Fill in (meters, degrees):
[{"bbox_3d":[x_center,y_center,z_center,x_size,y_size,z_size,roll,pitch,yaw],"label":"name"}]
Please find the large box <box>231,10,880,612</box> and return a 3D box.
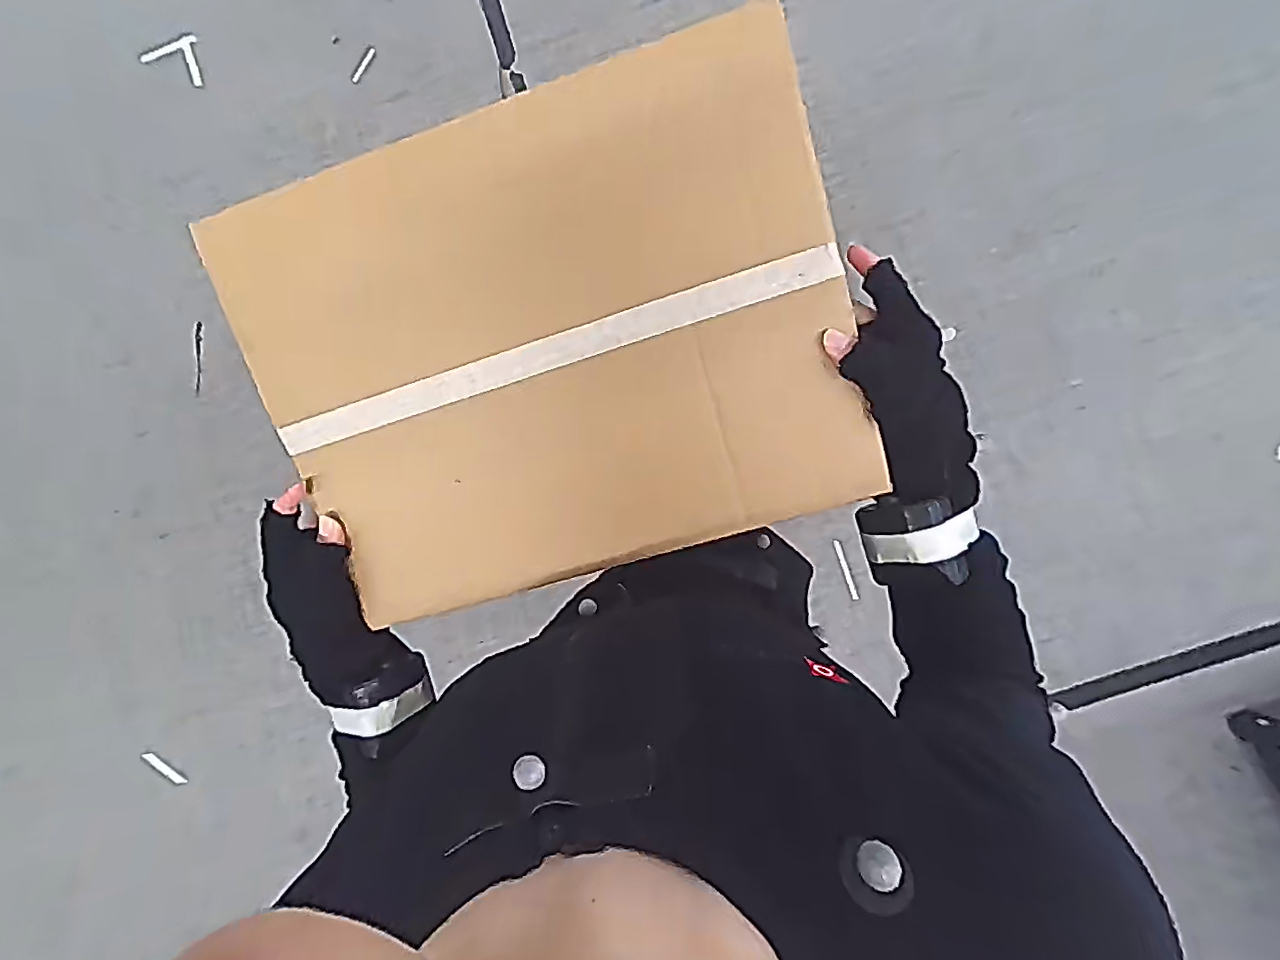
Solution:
[{"bbox_3d":[-0.051,-0.120,0.528,0.408,0.320,0.320,-16,101,7],"label":"large box"}]
